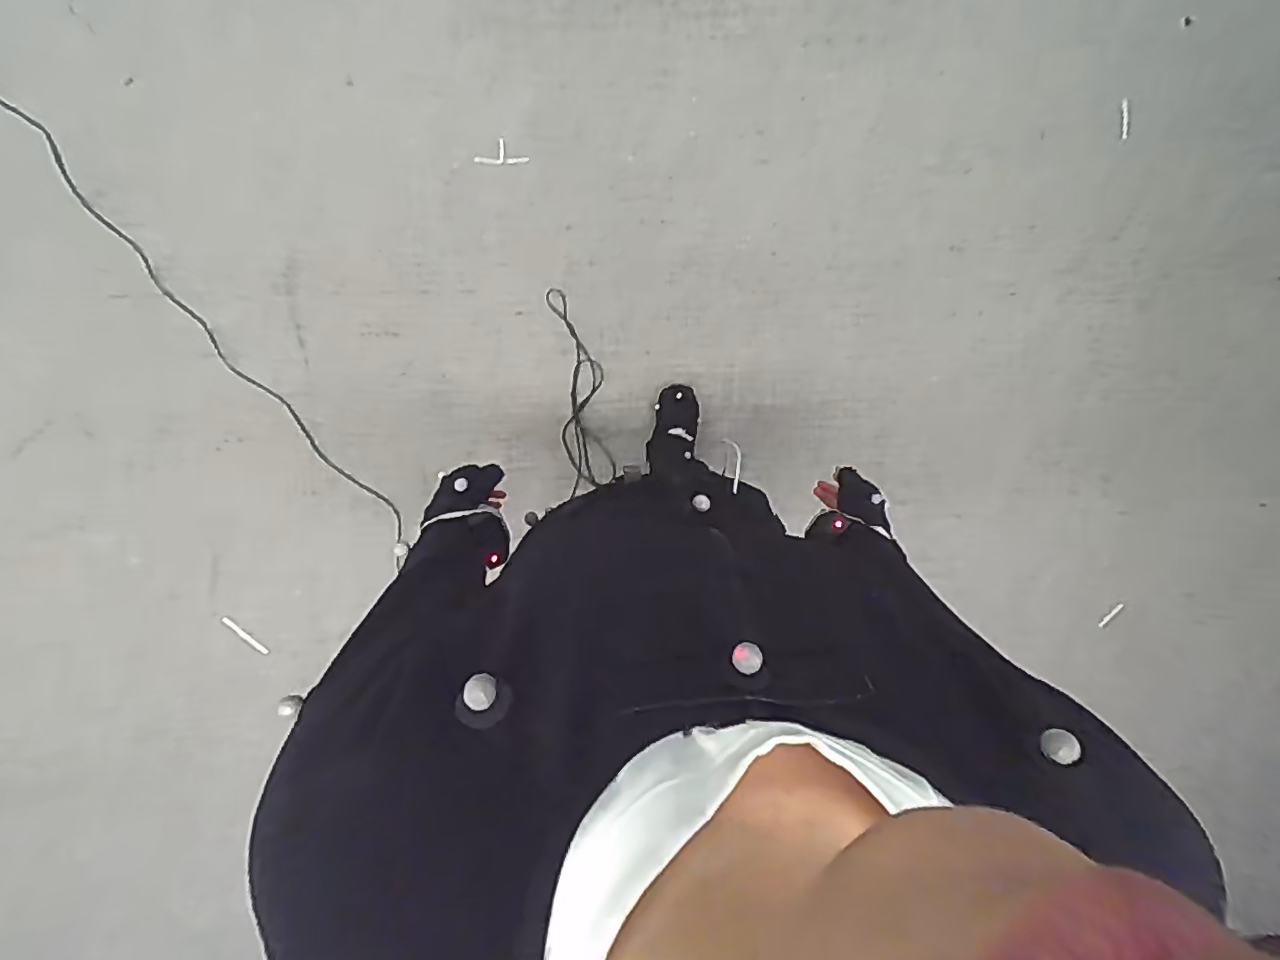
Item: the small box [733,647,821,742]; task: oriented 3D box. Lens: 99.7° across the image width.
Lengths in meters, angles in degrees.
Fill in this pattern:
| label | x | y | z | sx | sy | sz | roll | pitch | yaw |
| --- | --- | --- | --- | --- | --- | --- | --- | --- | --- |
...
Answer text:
| label | x | y | z | sx | sy | sz | roll | pitch | yaw |
| --- | --- | --- | --- | --- | --- | --- | --- | --- | --- |
| small box | 0.347 | 0.552 | 1.407 | 0.179 | 0.176 | 0.168 | -8 | 92 | -5 |
